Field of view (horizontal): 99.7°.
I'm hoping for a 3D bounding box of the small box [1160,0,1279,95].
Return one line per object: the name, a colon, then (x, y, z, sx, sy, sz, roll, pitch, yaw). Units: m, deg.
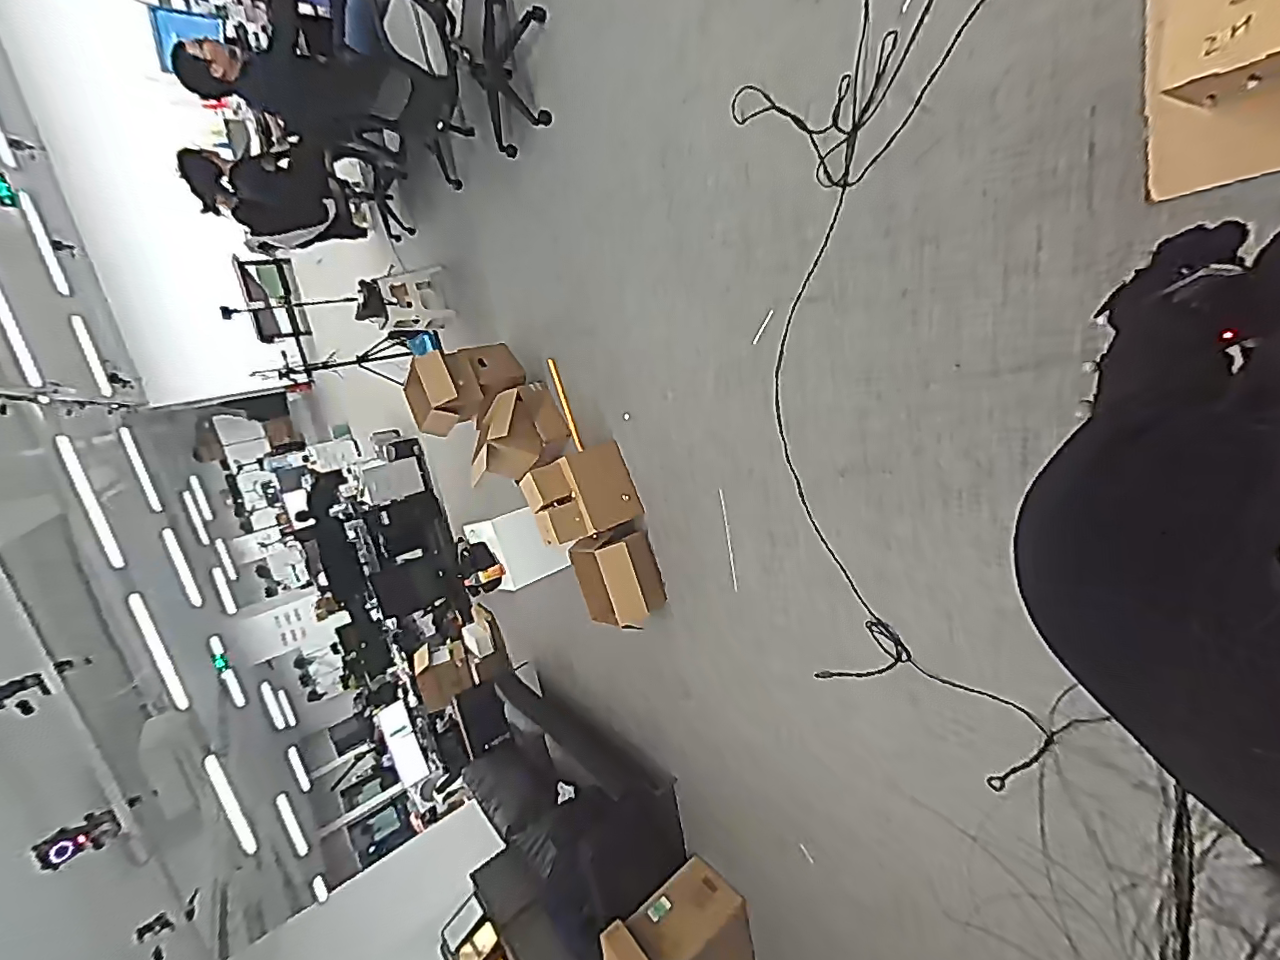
small box: (0.842, -0.658, 0.731, 0.168, 0.176, 0.179, 11, 116, 53)
